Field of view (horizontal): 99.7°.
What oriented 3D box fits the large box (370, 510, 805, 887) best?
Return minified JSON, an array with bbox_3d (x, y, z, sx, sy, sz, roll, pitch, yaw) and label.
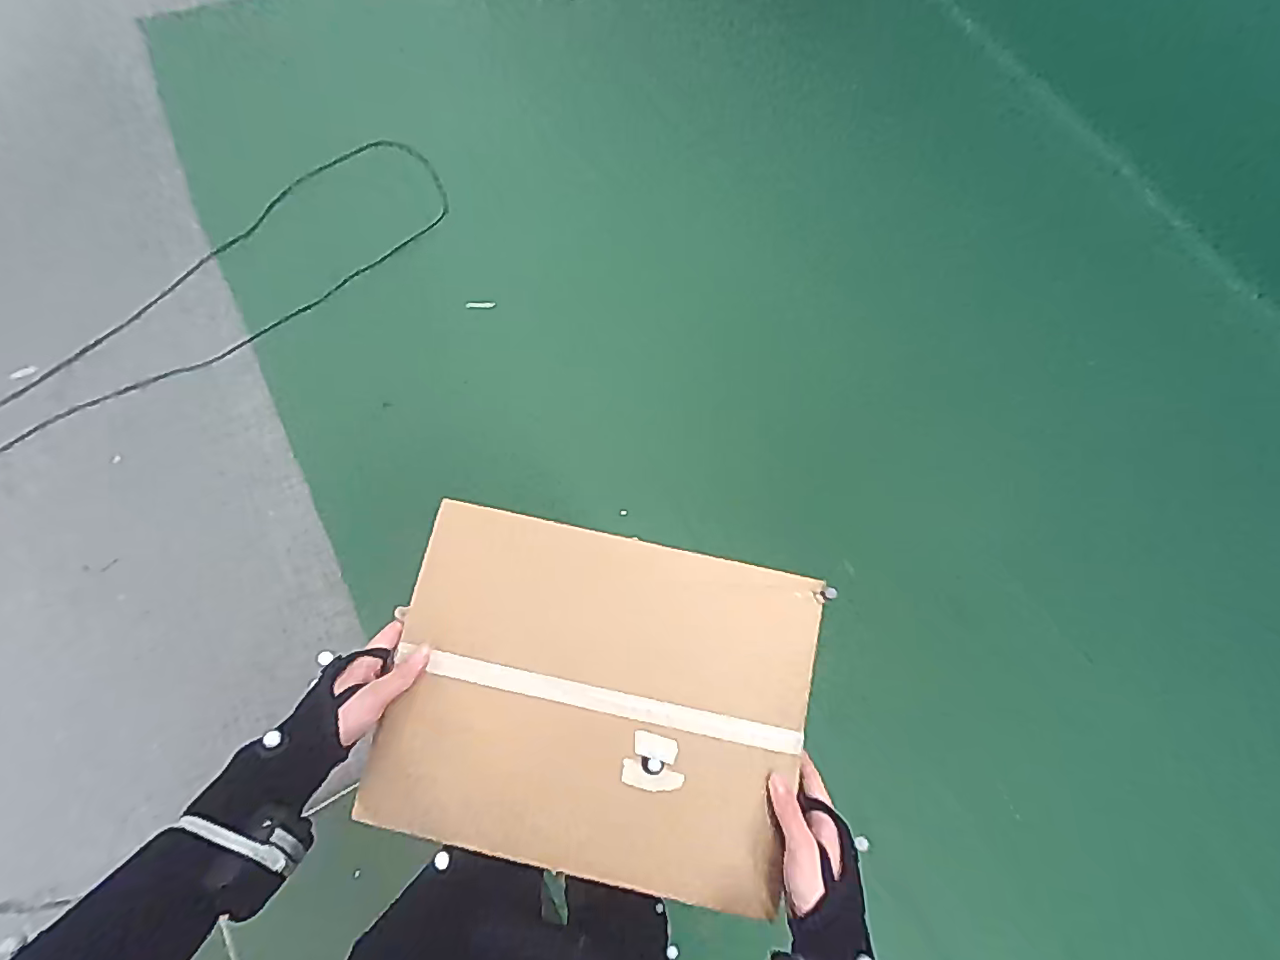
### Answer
[{"bbox_3d":[-0.048,0.240,0.695,0.408,0.320,0.320,11,79,1],"label":"large box"}]
